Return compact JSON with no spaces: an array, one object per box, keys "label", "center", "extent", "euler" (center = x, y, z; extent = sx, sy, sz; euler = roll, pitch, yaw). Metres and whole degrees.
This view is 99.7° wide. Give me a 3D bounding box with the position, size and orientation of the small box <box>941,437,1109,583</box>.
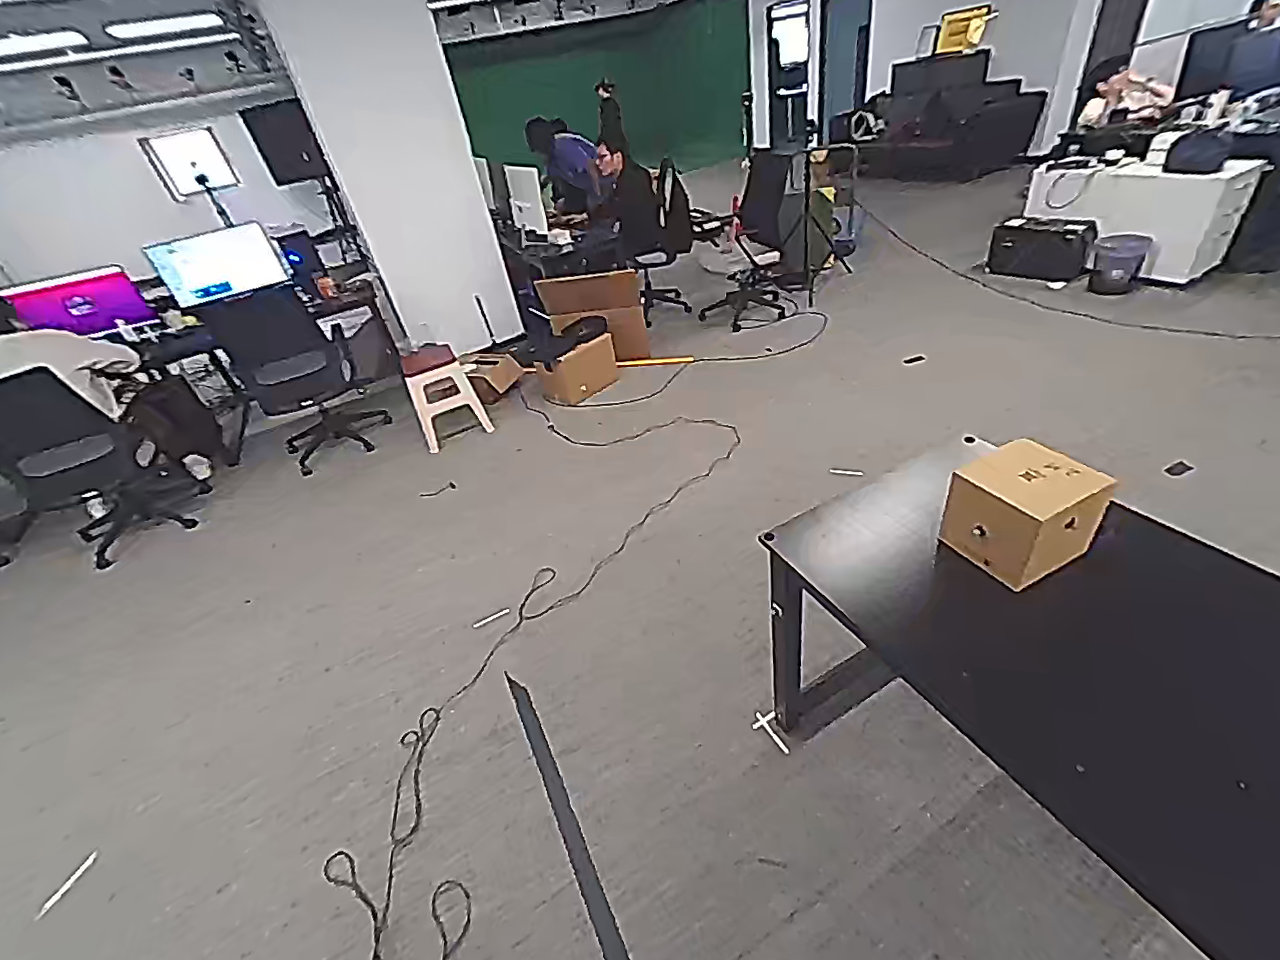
[{"label":"small box","center":[0.670,0.054,0.966],"extent":[0.179,0.176,0.168],"euler":[-23,38,-14]}]
